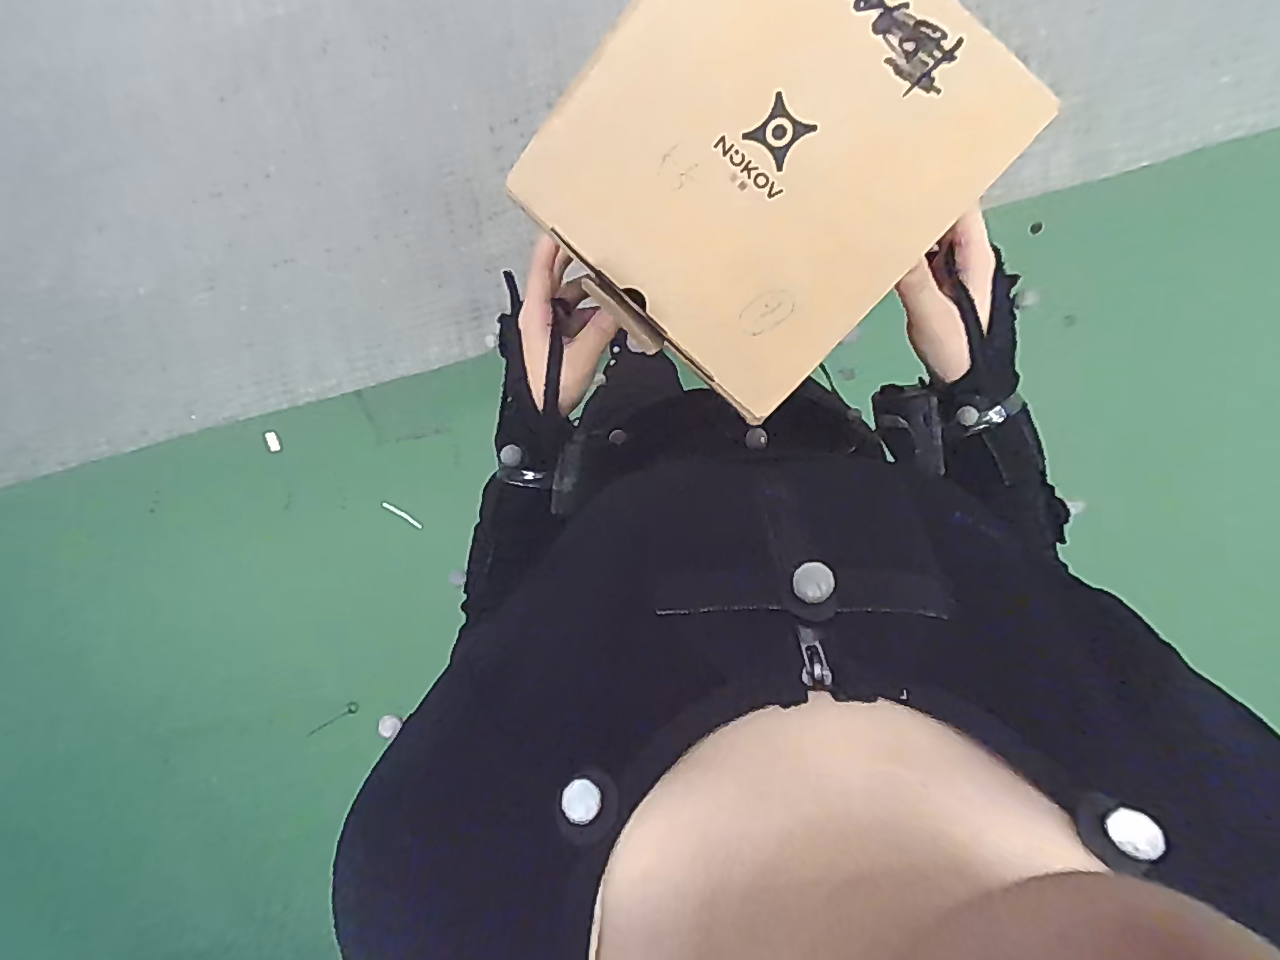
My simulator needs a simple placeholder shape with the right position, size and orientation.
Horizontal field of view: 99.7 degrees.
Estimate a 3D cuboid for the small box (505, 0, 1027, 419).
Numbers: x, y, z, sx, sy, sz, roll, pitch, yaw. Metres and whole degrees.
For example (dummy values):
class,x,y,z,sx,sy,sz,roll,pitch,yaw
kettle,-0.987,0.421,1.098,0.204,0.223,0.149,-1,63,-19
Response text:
class,x,y,z,sx,sy,sz,roll,pitch,yaw
small box,0.060,-0.157,0.321,0.168,0.176,0.179,43,103,-1
